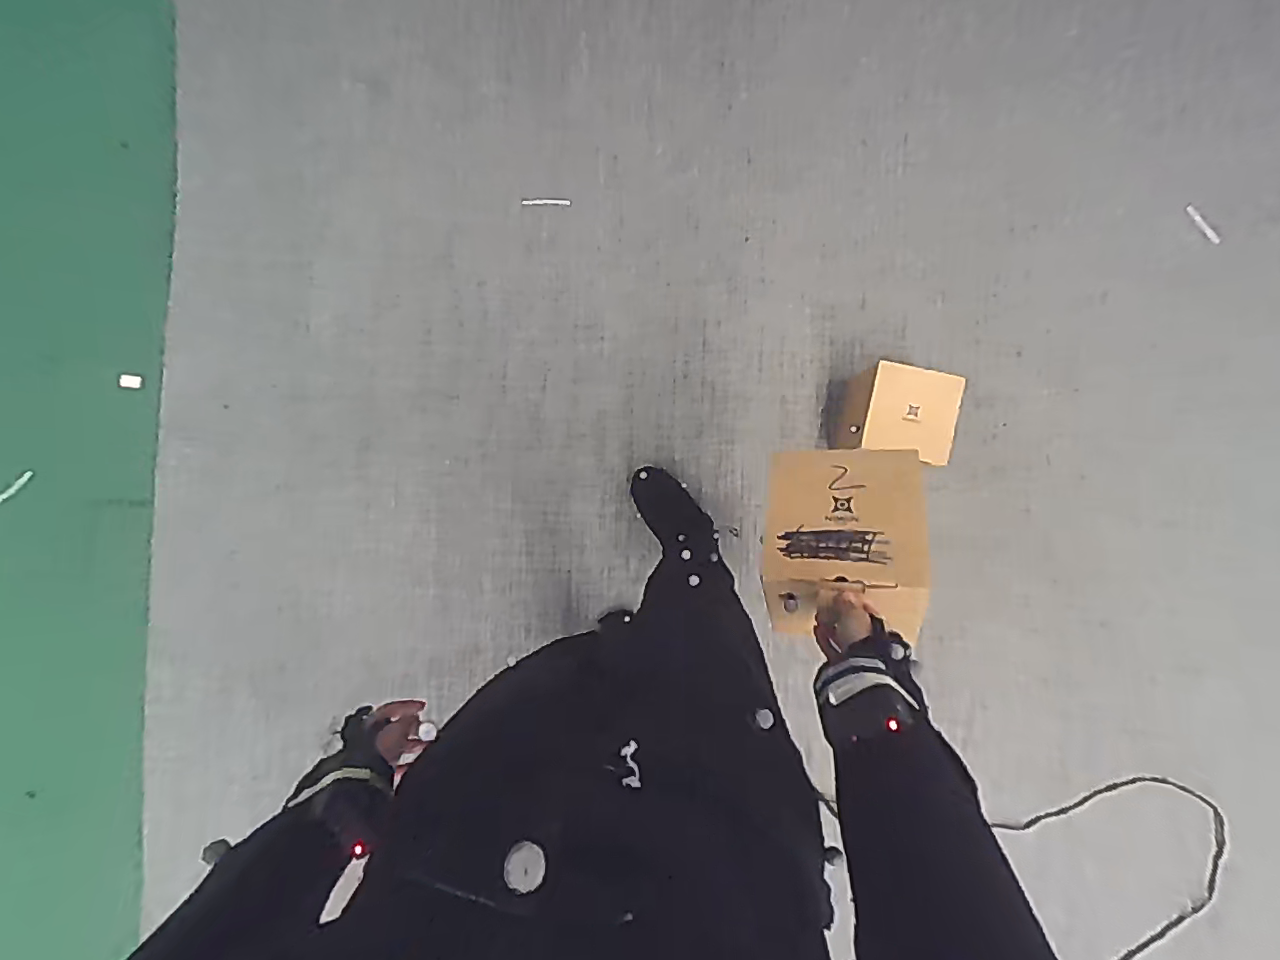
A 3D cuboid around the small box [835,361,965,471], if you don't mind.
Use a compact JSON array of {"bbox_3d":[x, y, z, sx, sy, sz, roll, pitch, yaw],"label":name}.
[{"bbox_3d":[0.510,-0.120,1.084,0.168,0.176,0.179,12,89,2],"label":"small box"}]
